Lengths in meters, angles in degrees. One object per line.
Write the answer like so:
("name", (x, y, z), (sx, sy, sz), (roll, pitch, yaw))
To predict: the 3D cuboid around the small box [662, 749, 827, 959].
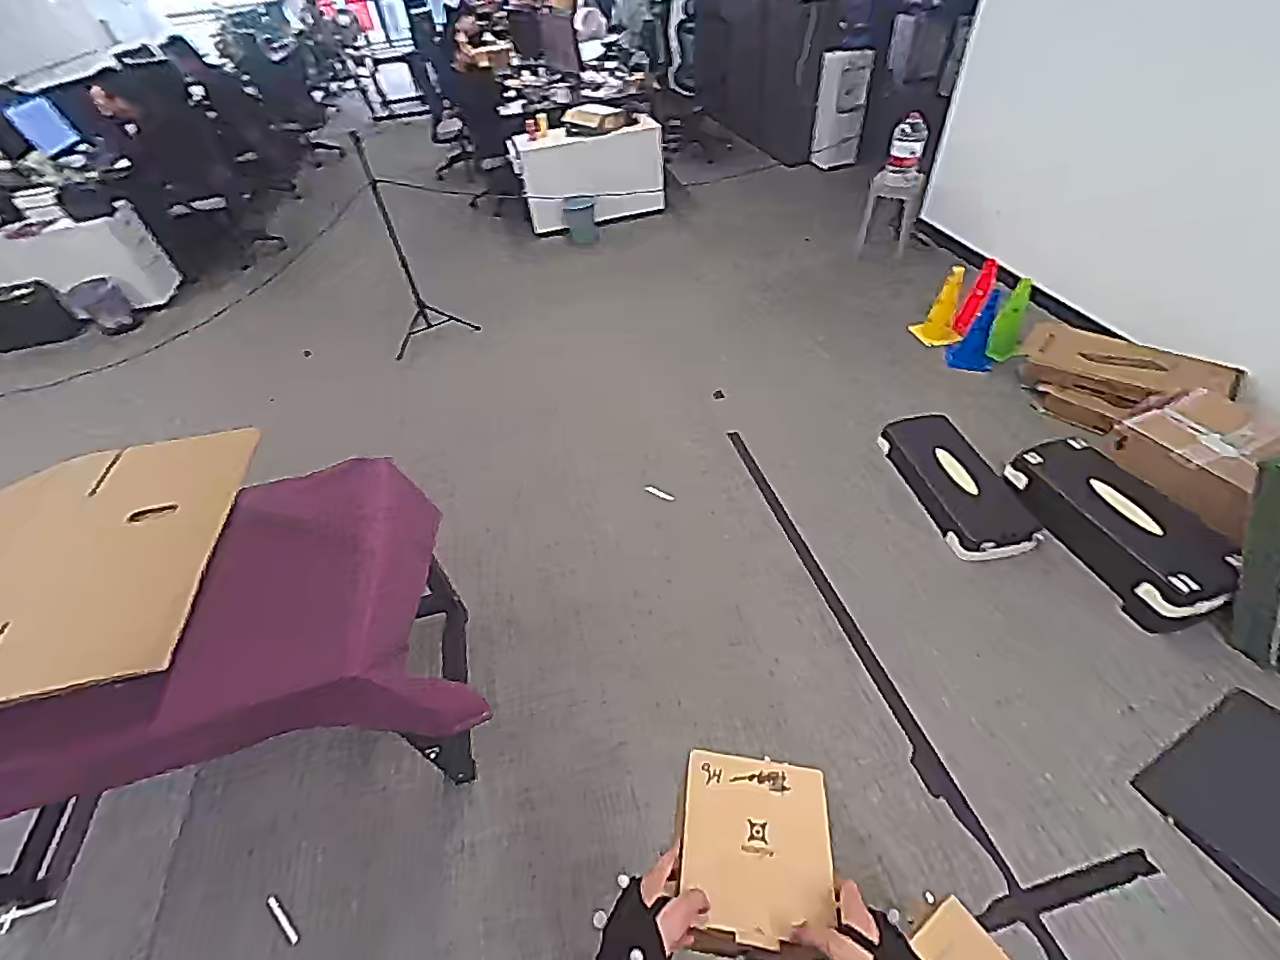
("small box", (0.119, 0.462, 0.665), (0.168, 0.176, 0.179), (7, 45, 4))
